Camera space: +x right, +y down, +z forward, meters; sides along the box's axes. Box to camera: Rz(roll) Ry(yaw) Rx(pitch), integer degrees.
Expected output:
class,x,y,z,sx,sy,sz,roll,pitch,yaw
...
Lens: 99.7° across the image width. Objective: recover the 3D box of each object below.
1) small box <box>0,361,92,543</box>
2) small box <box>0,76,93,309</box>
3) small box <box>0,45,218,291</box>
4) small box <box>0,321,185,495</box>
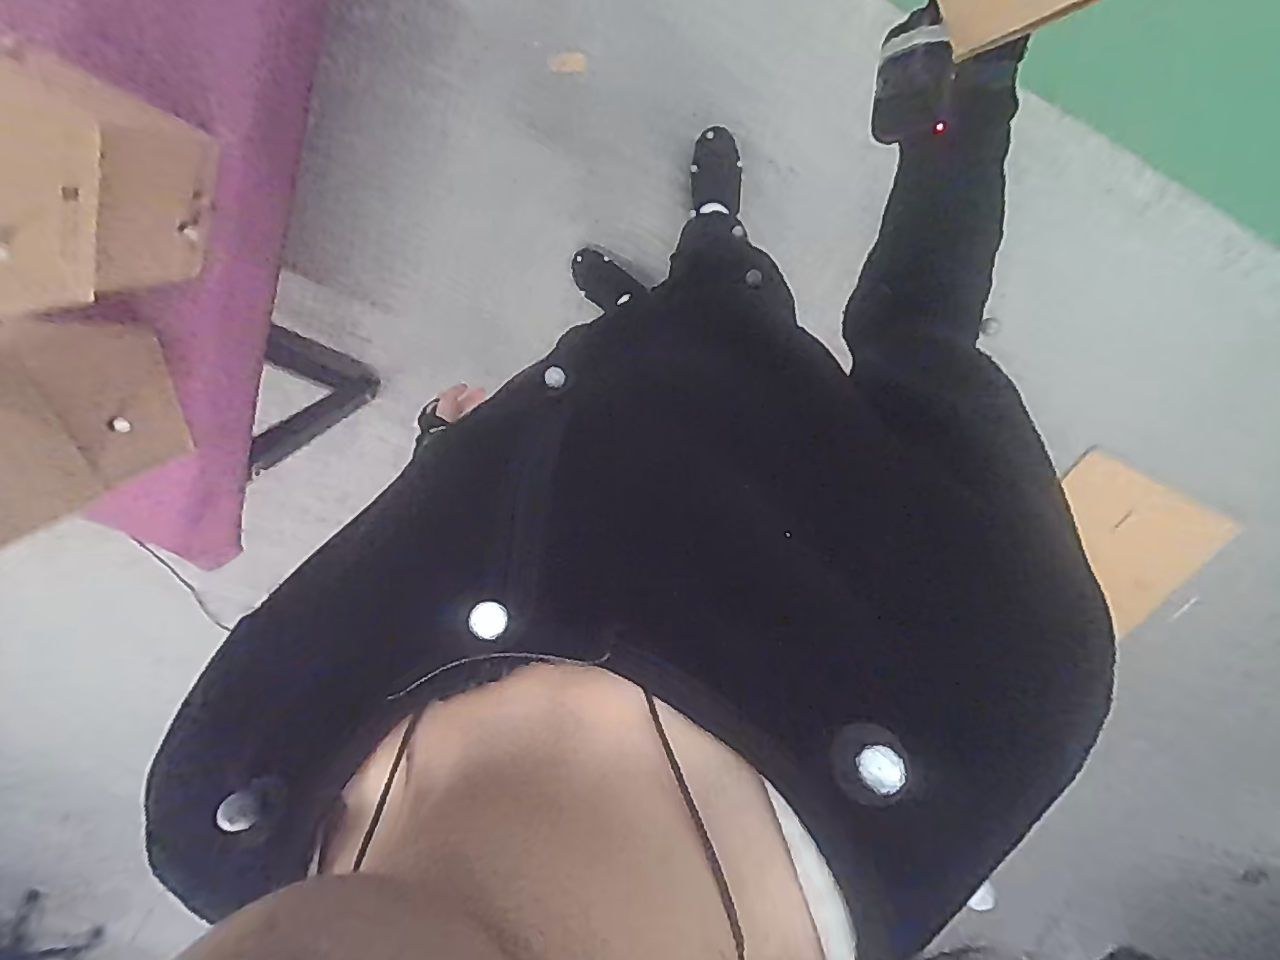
class,x,y,z,sx,sy,sz,roll,pitch,yaw
small box,-0.701,-0.009,0.509,0.168,0.176,0.179,-9,114,5
small box,-0.572,-0.239,0.403,0.179,0.176,0.168,25,115,-9
small box,-0.586,-0.314,0.548,0.179,0.176,0.168,25,114,-11
small box,-0.712,-0.087,0.655,0.168,0.176,0.179,1,115,0
